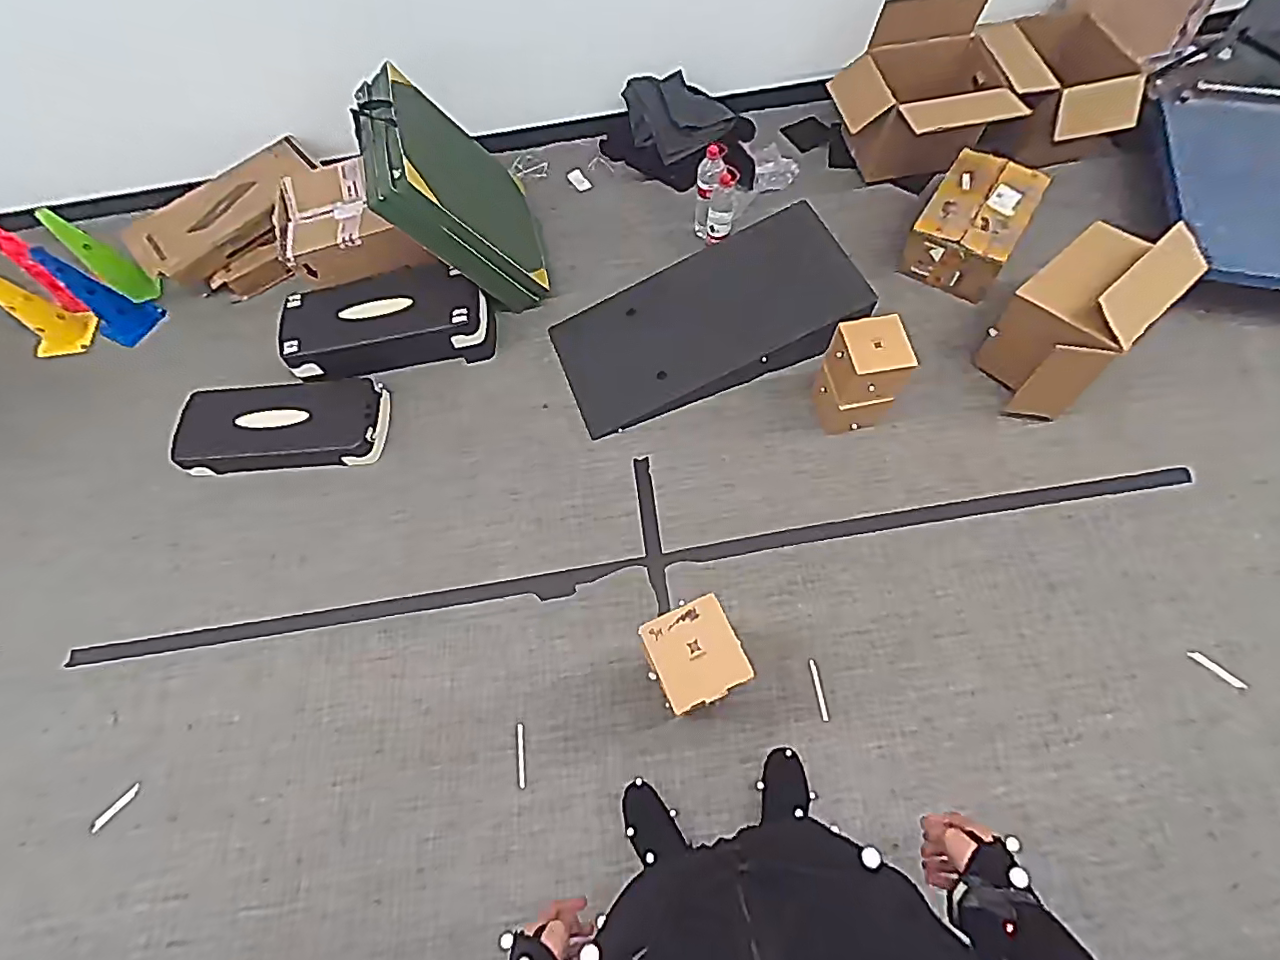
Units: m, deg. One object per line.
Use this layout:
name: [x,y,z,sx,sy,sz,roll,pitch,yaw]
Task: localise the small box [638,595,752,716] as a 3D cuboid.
small box: [0.109,0.357,1.100,0.168,0.176,0.179,-23,68,-6]
